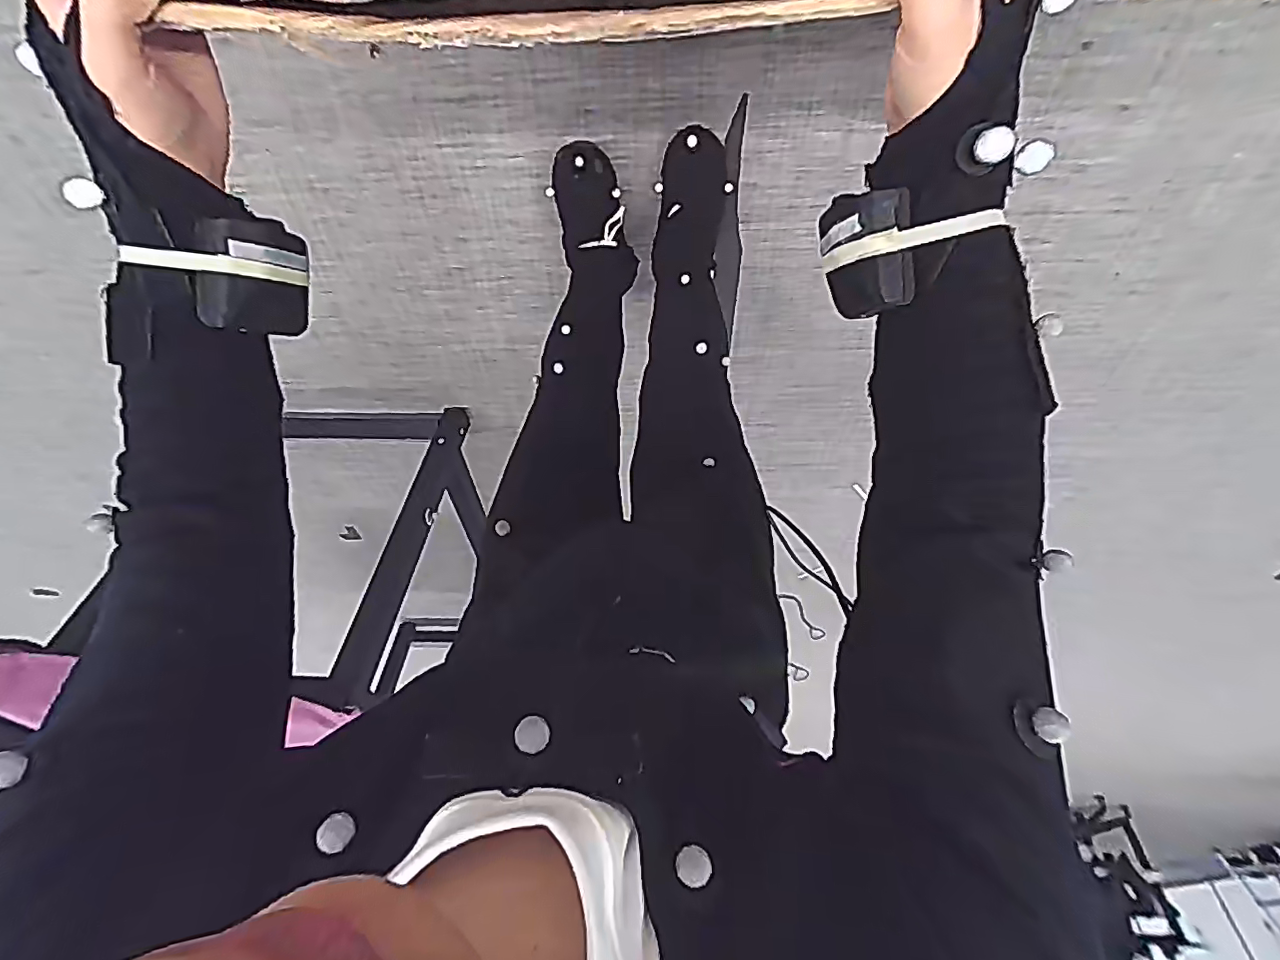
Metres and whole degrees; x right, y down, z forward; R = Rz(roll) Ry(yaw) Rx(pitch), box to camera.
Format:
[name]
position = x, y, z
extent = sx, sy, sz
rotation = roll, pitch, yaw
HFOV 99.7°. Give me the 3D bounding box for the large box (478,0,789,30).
[large box]
position = -0.016, -0.706, 0.492
extent = 0.320, 0.320, 0.408
rotation = 0, 138, 4
